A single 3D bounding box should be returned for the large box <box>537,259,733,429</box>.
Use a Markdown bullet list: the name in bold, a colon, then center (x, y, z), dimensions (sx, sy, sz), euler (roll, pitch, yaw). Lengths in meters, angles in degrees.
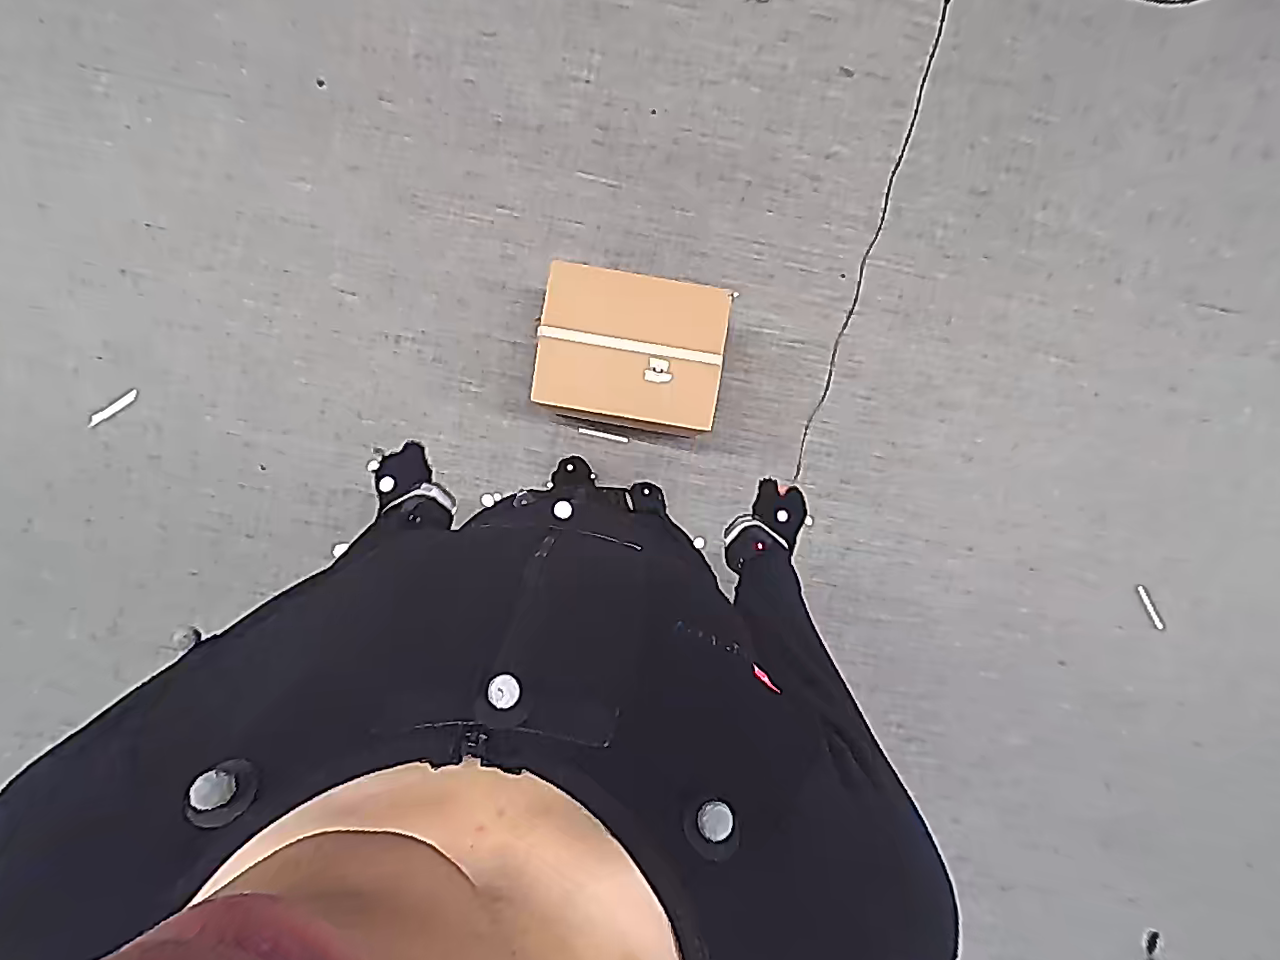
- **large box**: center (-0.018, -0.312, 1.341), dimensions (0.408, 0.320, 0.320), euler (9, 93, -2)
